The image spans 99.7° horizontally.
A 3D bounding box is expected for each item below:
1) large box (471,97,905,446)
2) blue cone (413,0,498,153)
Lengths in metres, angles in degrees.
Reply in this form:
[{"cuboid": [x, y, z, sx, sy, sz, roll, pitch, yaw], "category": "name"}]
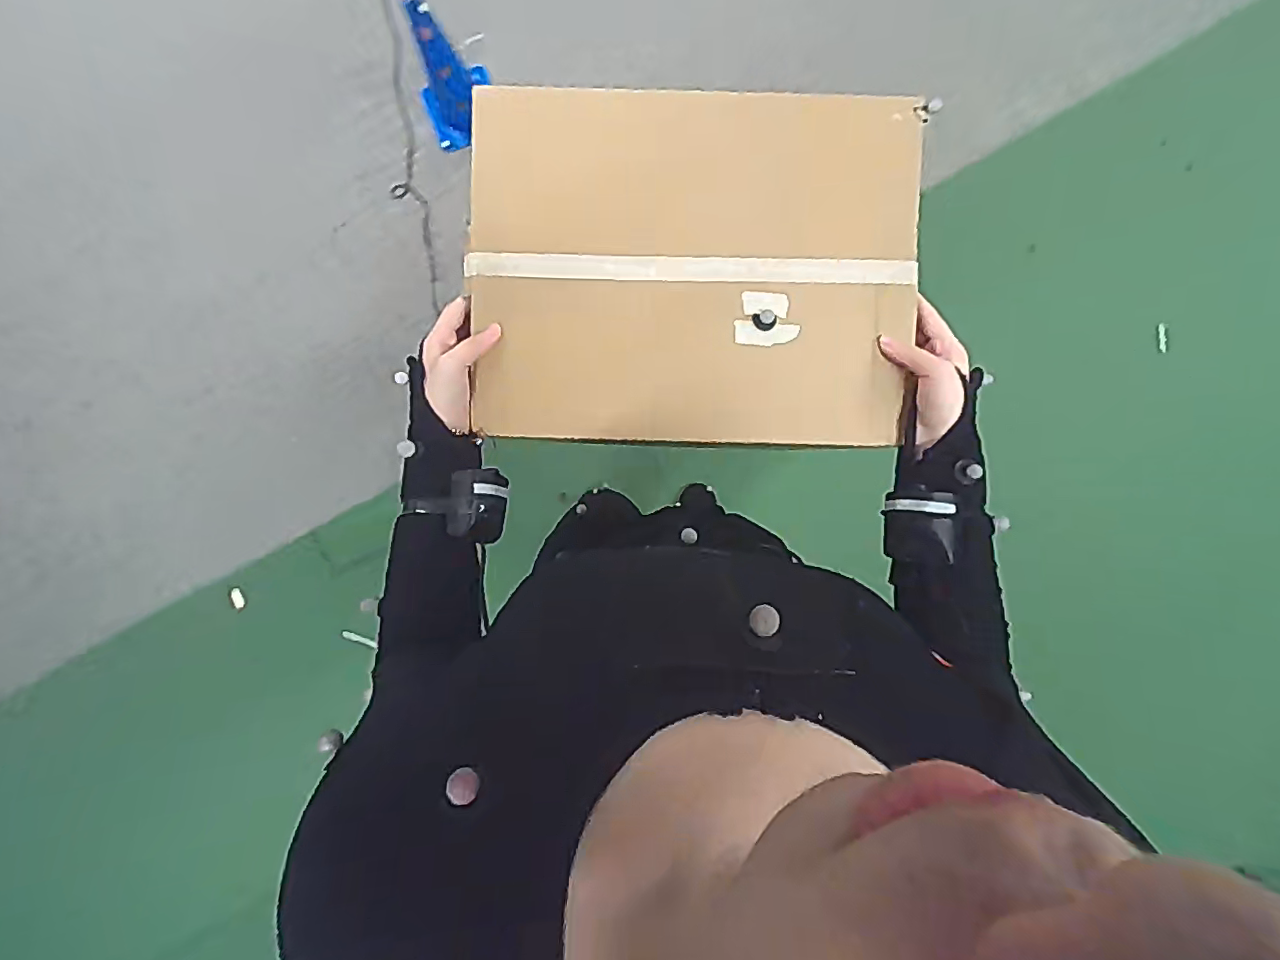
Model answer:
[{"cuboid": [0.041, -0.201, 0.648, 0.408, 0.320, 0.320, 0, 93, -1], "category": "large box"}, {"cuboid": [-0.484, -1.045, 1.370, 0.193, 0.380, 0.192, -20, 90, 0], "category": "blue cone"}]
